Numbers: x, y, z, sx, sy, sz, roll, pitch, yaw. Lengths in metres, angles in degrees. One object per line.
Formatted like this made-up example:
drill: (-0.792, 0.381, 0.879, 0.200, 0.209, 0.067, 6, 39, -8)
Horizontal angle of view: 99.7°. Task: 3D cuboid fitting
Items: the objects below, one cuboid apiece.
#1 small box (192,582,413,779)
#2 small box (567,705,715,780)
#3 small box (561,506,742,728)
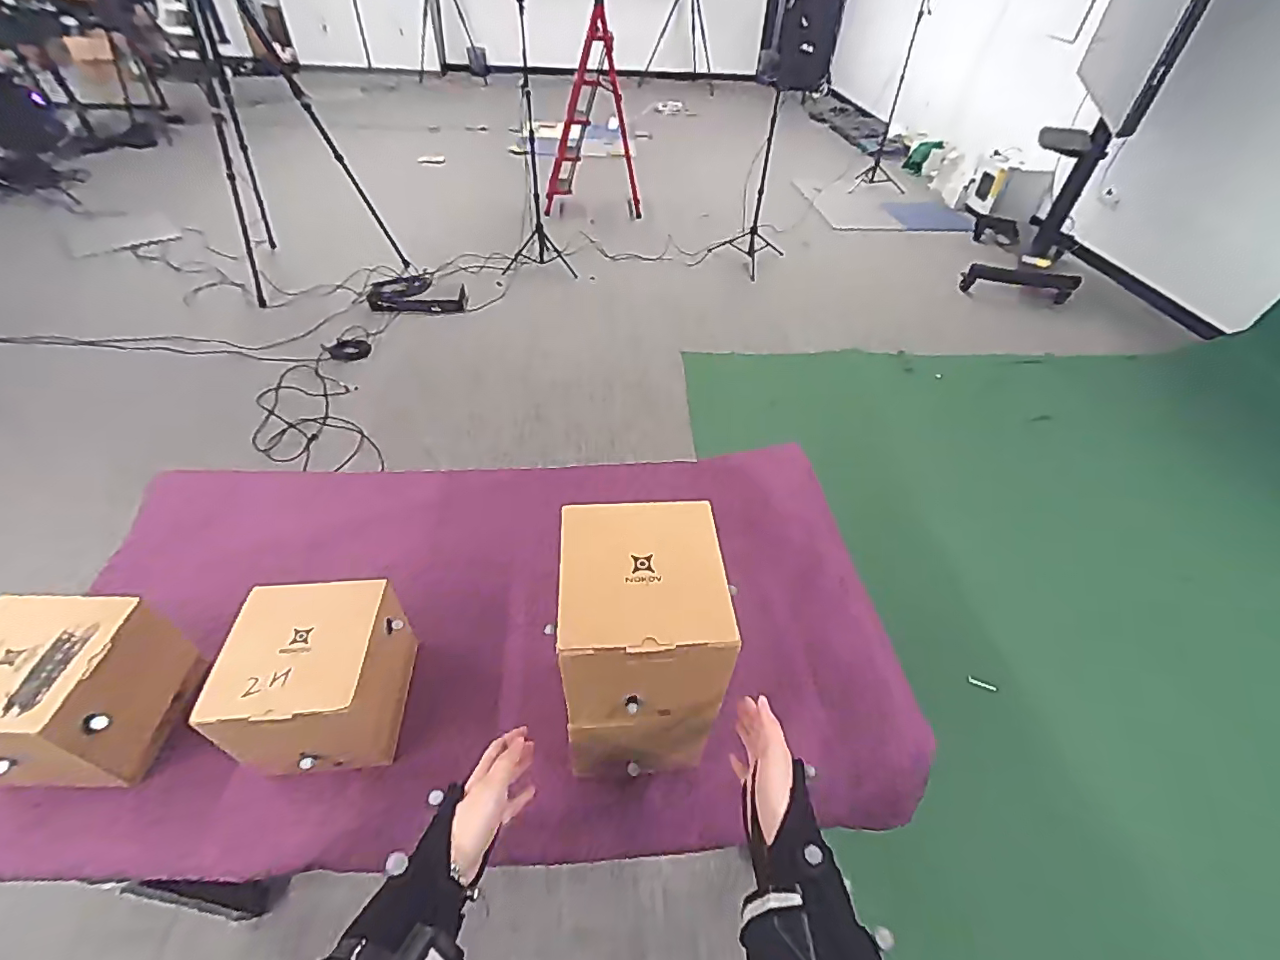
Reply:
small box: (-0.402, 0.253, 0.688, 0.168, 0.176, 0.179, -3, 44, -6)
small box: (-0.008, 0.266, 0.704, 0.168, 0.176, 0.179, -1, 45, -5)
small box: (0.001, 0.148, 0.593, 0.168, 0.176, 0.179, -2, 45, -5)
